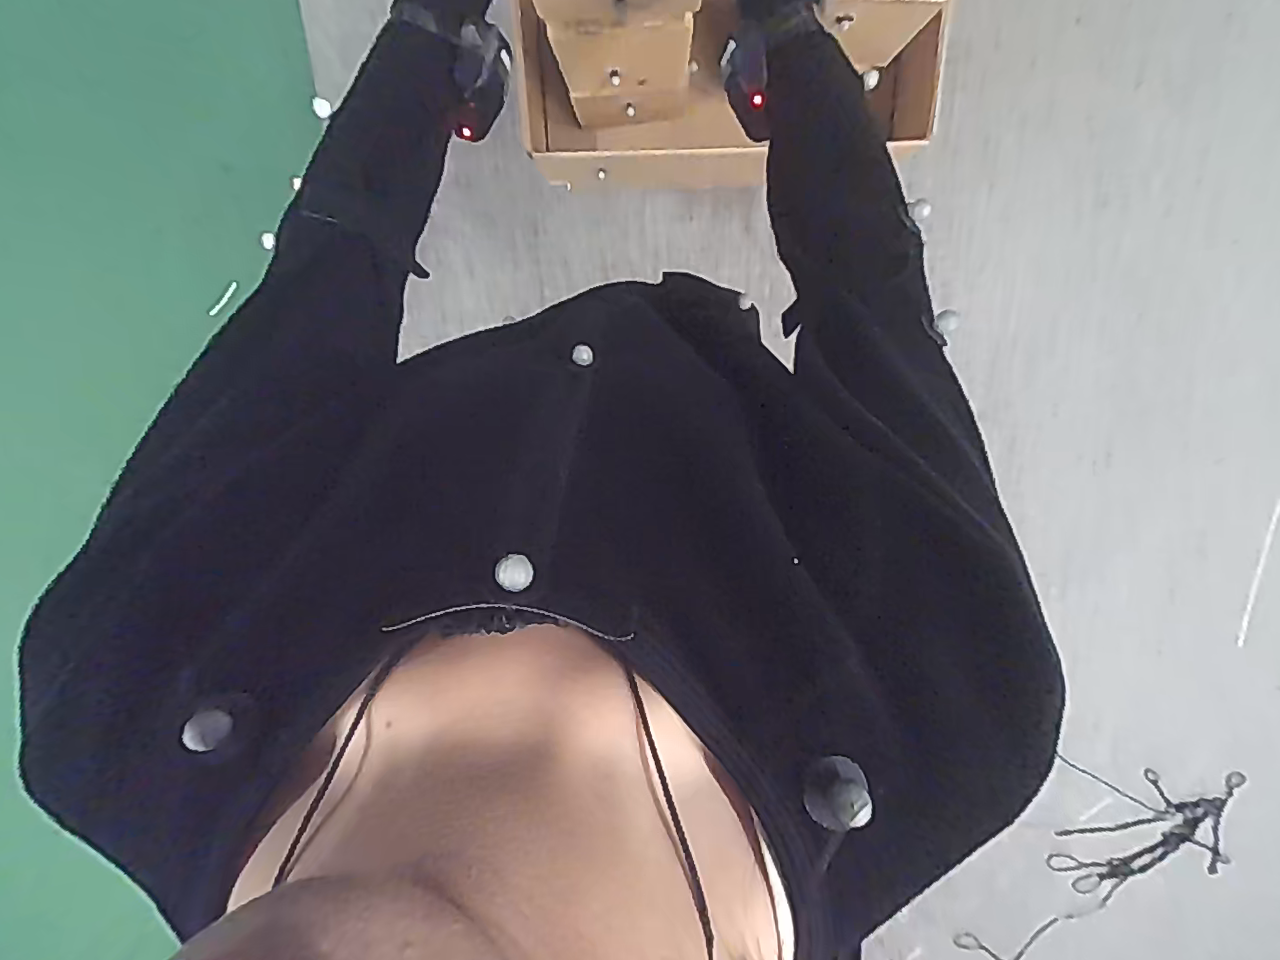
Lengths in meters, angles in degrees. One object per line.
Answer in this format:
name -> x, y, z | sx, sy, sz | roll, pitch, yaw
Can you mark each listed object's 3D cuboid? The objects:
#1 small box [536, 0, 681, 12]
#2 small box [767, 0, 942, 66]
small box -> -0.026, -0.553, 0.476 | 0.179, 0.176, 0.168 | -2, 108, 1
small box -> 0.257, -0.627, 0.645 | 0.179, 0.176, 0.168 | 2, 107, 1
